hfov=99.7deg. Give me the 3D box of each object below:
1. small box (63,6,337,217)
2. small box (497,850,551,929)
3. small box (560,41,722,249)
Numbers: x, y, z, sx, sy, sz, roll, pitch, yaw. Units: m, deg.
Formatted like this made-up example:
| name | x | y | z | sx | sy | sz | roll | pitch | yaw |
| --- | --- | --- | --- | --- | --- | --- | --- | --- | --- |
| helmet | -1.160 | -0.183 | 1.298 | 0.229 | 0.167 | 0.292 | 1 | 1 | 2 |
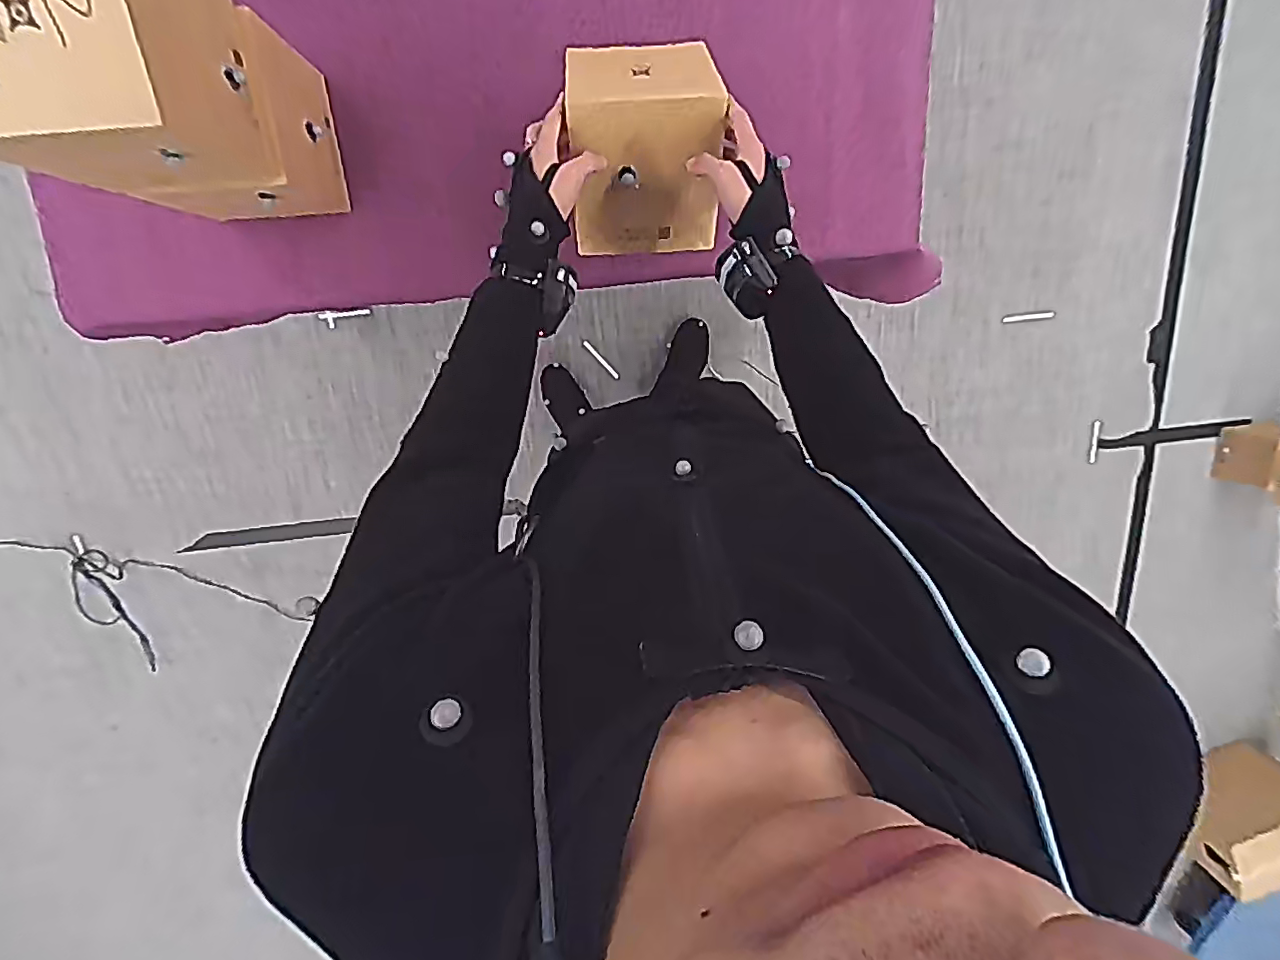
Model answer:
| name | x | y | z | sx | sy | sz | roll | pitch | yaw |
| --- | --- | --- | --- | --- | --- | --- | --- | --- | --- |
| small box | -0.485 | -0.415 | 0.637 | 0.179 | 0.176 | 0.168 | -5 | 107 | -3 |
| small box | -0.425 | 1.505 | 2.002 | 0.168 | 0.176 | 0.179 | -4 | 108 | -3 |
| small box | -0.002 | -0.393 | 0.646 | 0.168 | 0.179 | 0.176 | -4 | 142 | -3 |
